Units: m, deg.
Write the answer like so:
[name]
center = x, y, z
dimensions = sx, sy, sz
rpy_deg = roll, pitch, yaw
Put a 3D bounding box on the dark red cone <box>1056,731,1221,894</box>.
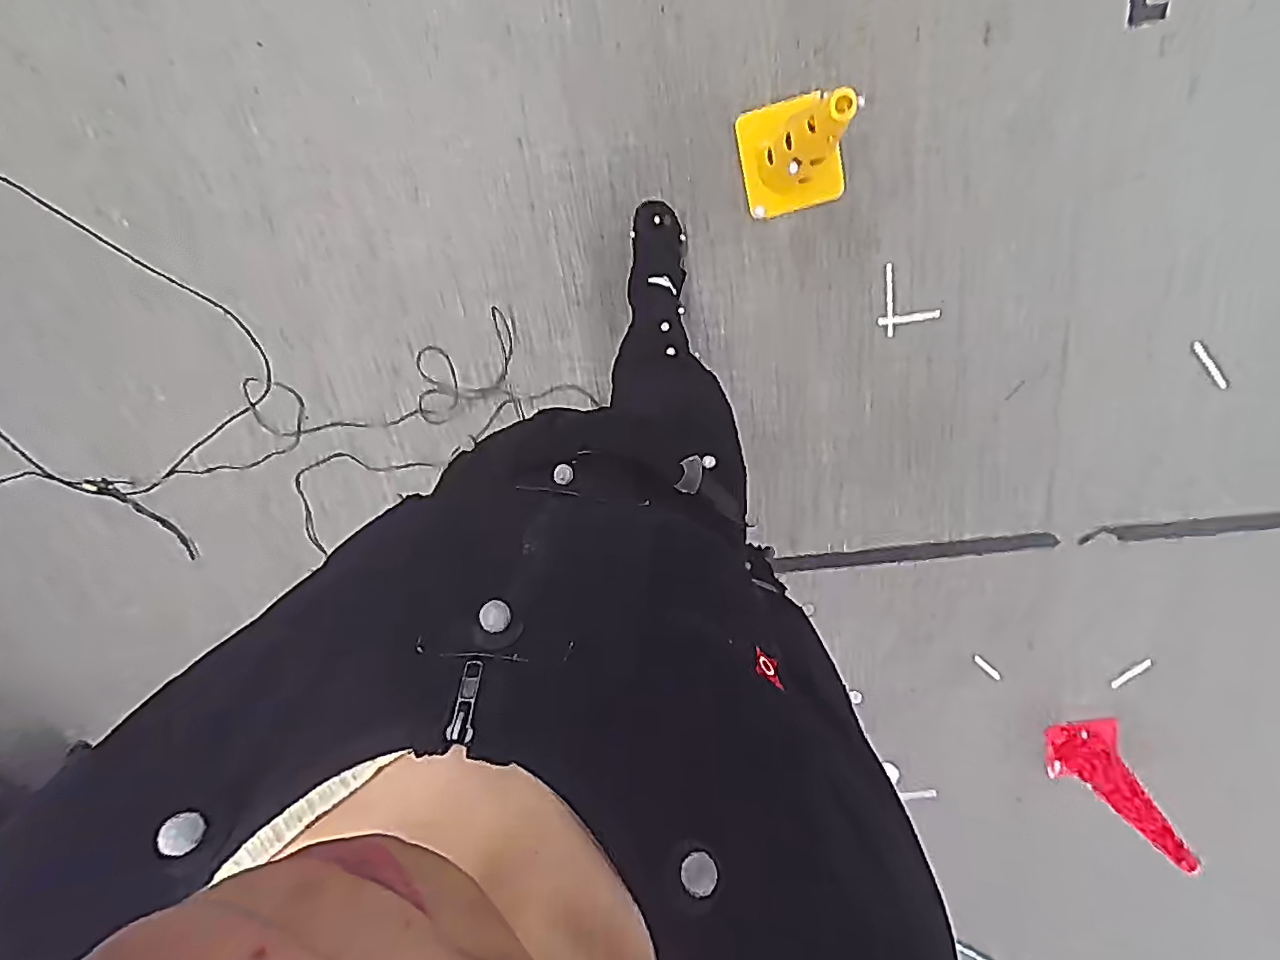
[dark red cone]
center = 1.302, 0.860, 1.401
dimensions = 0.202, 0.394, 0.201
rpy_deg = -14, 107, 7
